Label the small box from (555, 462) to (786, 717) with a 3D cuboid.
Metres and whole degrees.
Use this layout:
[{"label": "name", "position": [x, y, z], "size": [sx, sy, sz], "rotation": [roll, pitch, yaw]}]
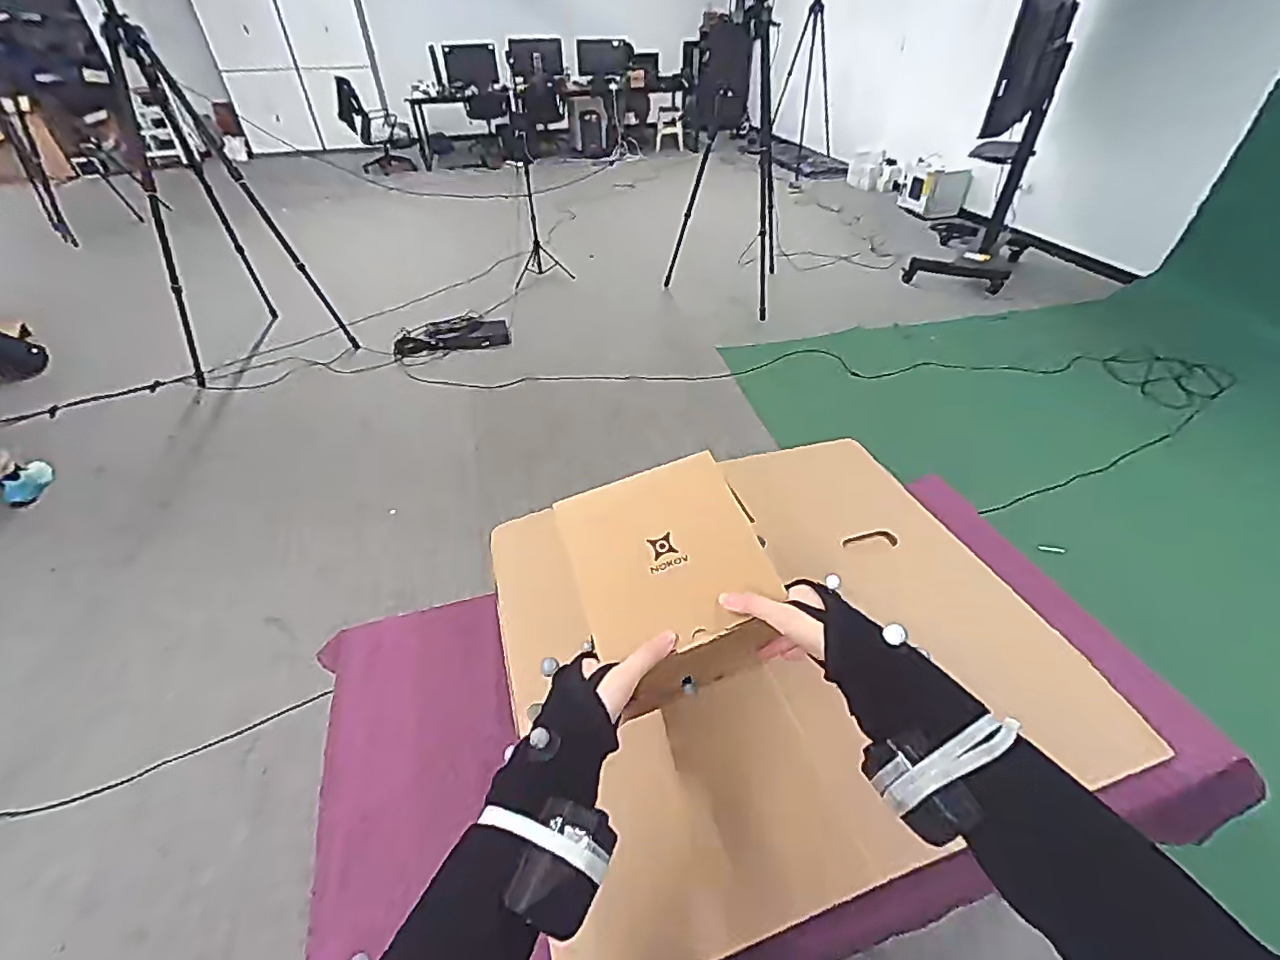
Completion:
[{"label": "small box", "position": [0.025, 0.116, 0.556], "size": [0.168, 0.176, 0.179], "rotation": [-20, 57, -8]}]
